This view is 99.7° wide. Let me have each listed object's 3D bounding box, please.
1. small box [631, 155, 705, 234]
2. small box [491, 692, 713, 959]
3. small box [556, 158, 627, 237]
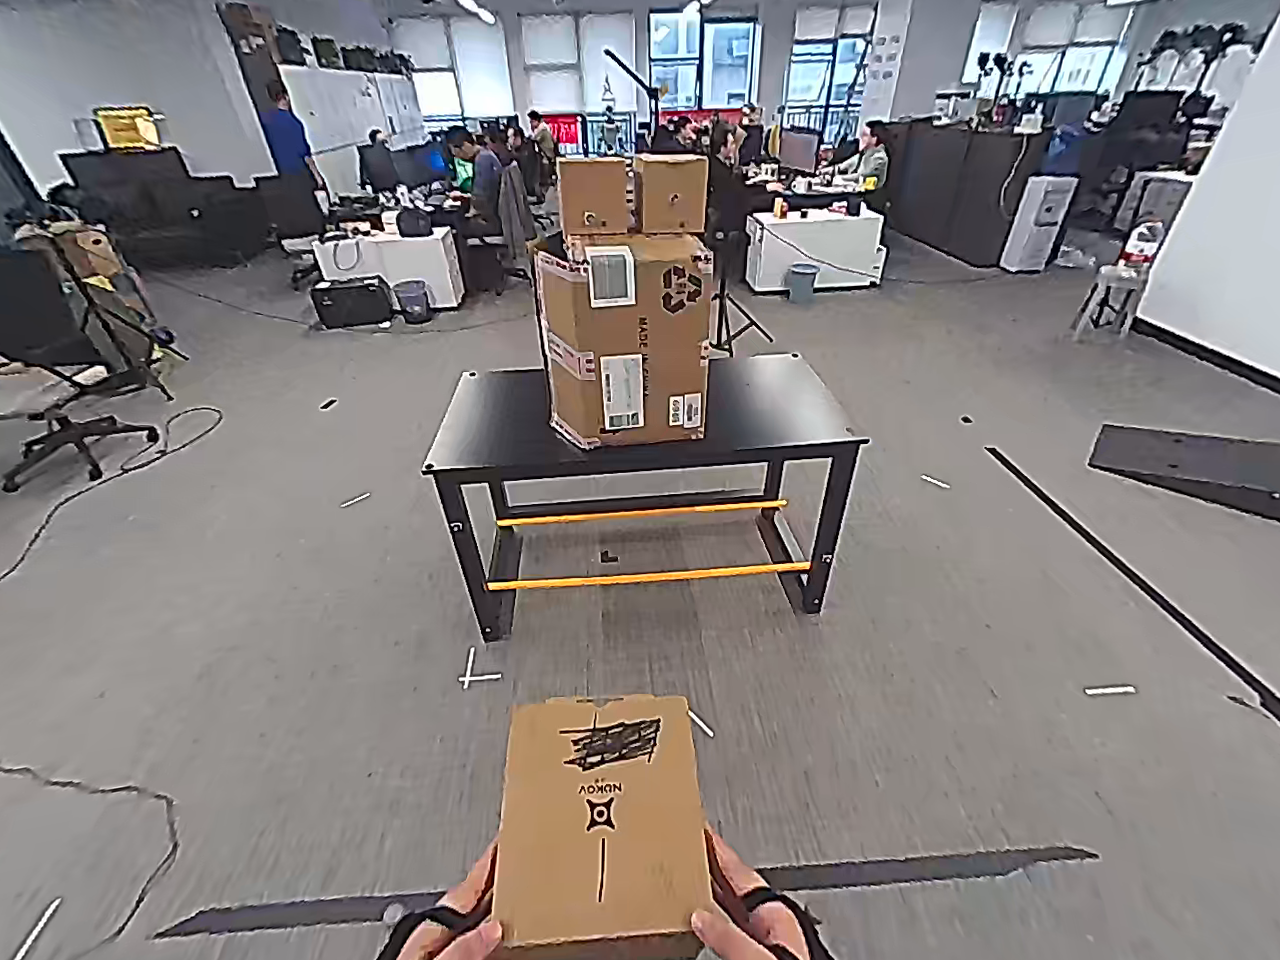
[{"bbox_3d":[0.070,-0.754,1.429,0.168,0.176,0.179,-4,35,-8],"label":"small box"},{"bbox_3d":[-0.034,0.323,0.506,0.168,0.176,0.179,-2,43,-3],"label":"small box"},{"bbox_3d":[-0.128,-0.739,1.413,0.168,0.176,0.179,-7,34,-8],"label":"small box"}]
